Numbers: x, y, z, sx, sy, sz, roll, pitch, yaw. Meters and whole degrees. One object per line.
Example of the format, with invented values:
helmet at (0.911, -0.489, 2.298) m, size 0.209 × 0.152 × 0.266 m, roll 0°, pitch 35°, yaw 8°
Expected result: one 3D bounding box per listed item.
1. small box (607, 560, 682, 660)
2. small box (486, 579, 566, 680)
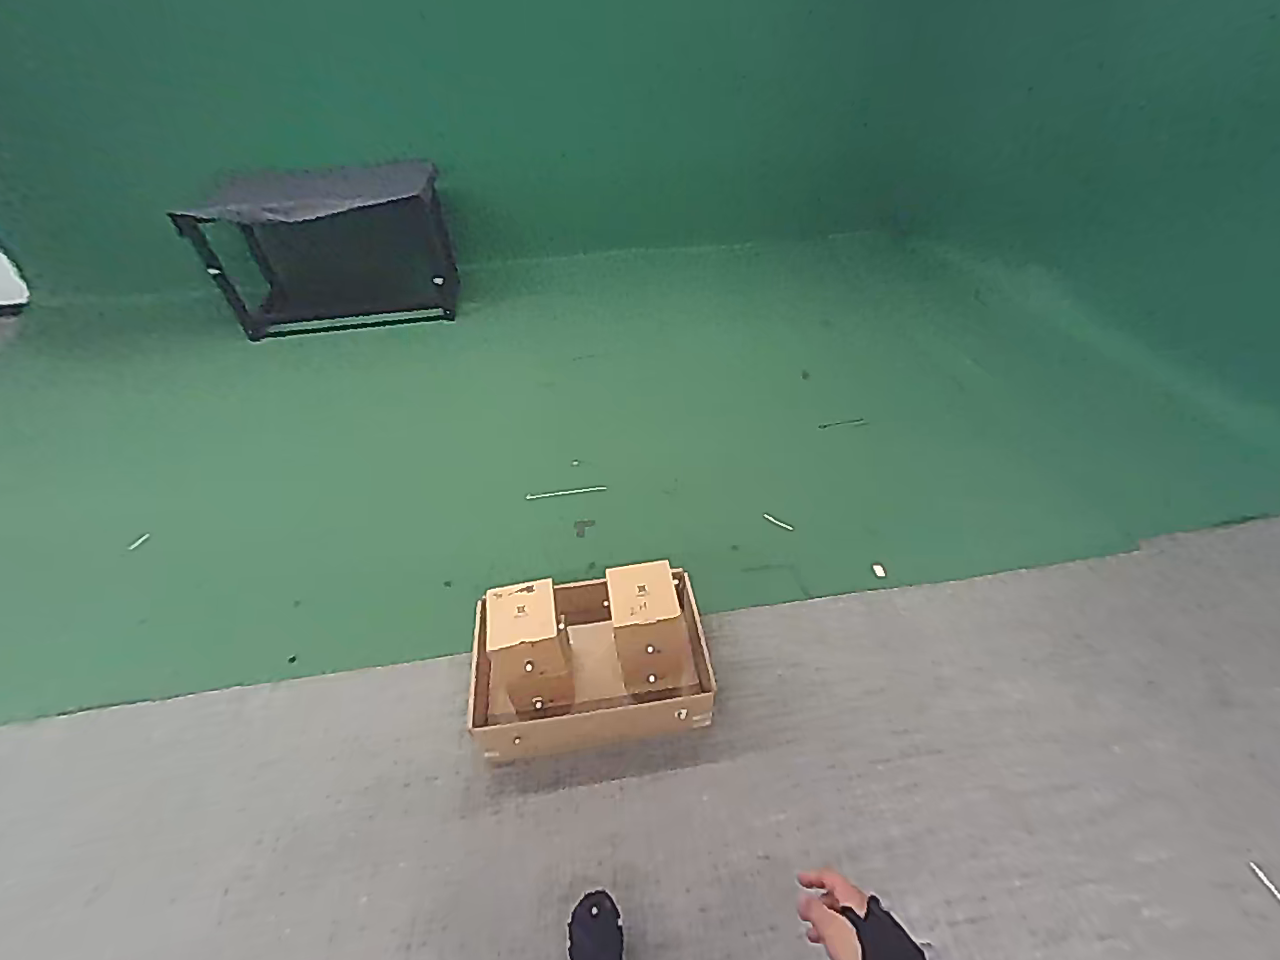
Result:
small box at (0.009, 0.332, 1.380) m, size 0.168 × 0.176 × 0.179 m, roll -8°, pitch 45°, yaw -4°
small box at (-0.283, 0.379, 1.348) m, size 0.168 × 0.176 × 0.179 m, roll -9°, pitch 45°, yaw -7°
